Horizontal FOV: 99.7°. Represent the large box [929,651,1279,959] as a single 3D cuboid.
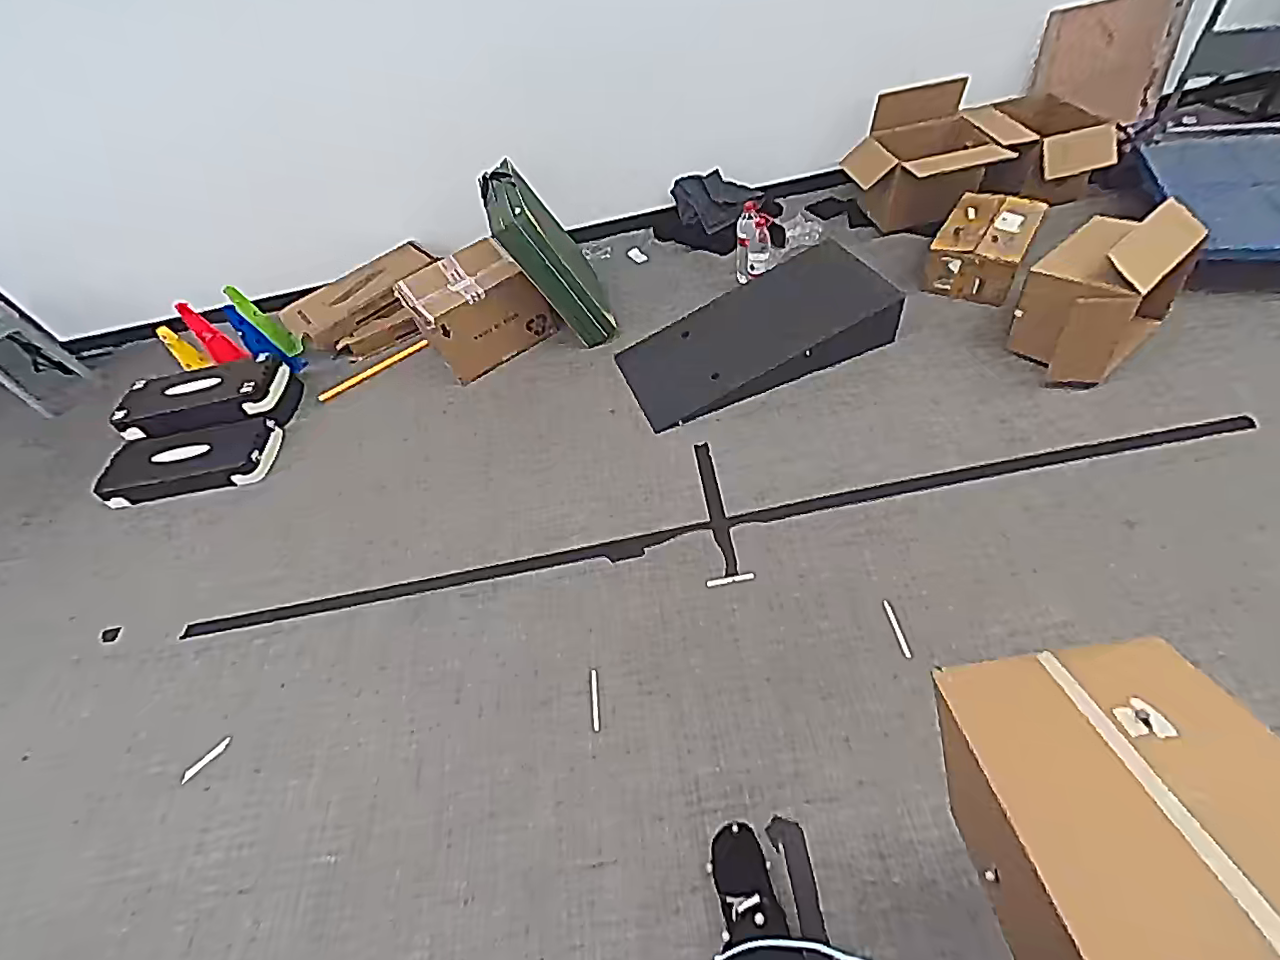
[{"bbox_3d":[0.621,0.490,0.685,0.320,0.320,0.408,-12,19,11],"label":"large box"}]
